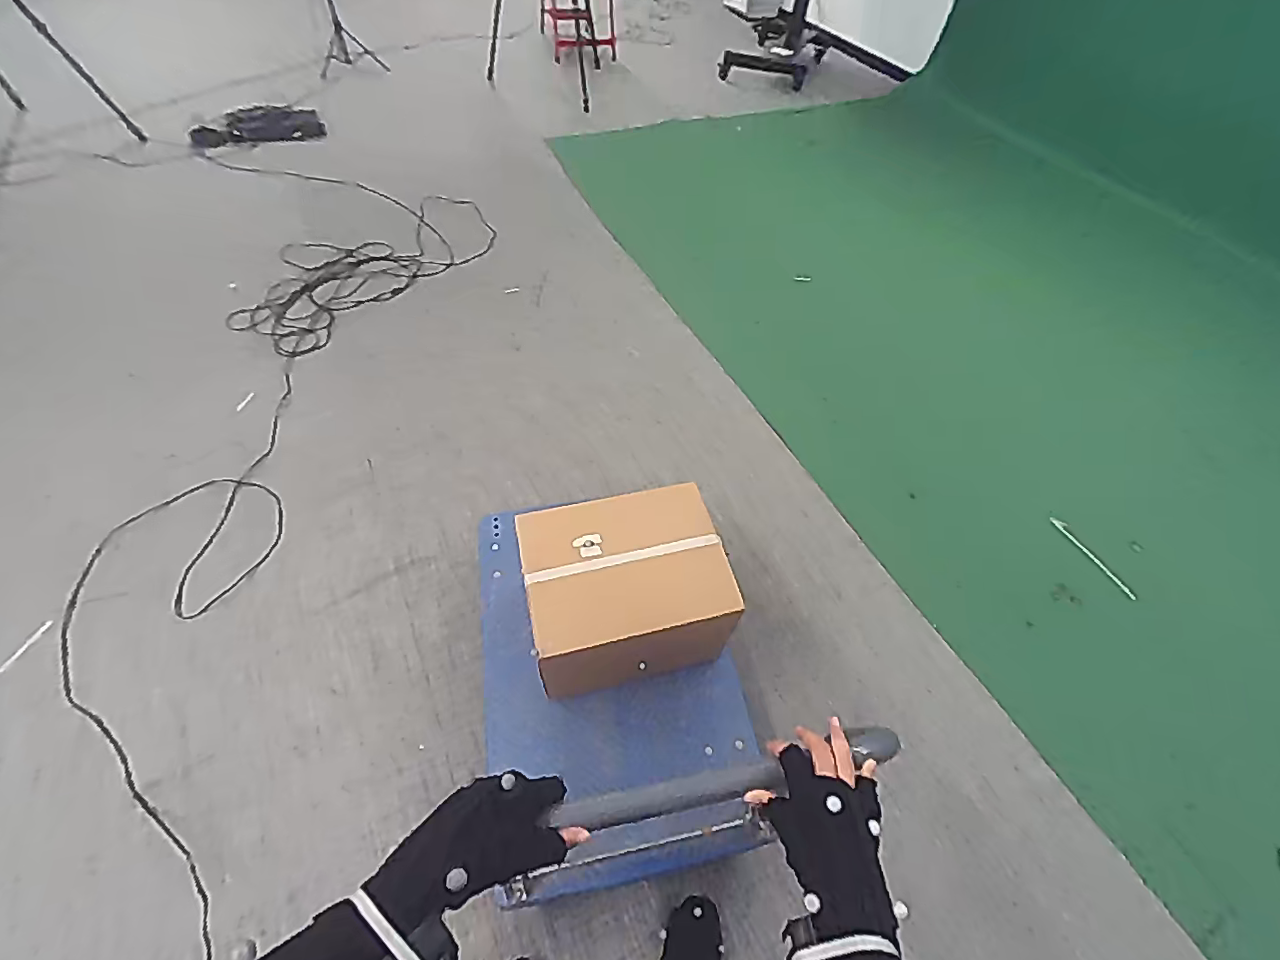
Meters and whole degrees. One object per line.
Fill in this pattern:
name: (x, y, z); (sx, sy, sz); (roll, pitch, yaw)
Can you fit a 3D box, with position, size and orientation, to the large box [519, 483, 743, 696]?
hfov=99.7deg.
large box: (-0.031, 0.252, 1.228); (0.408, 0.320, 0.320); (-12, 56, -11)
